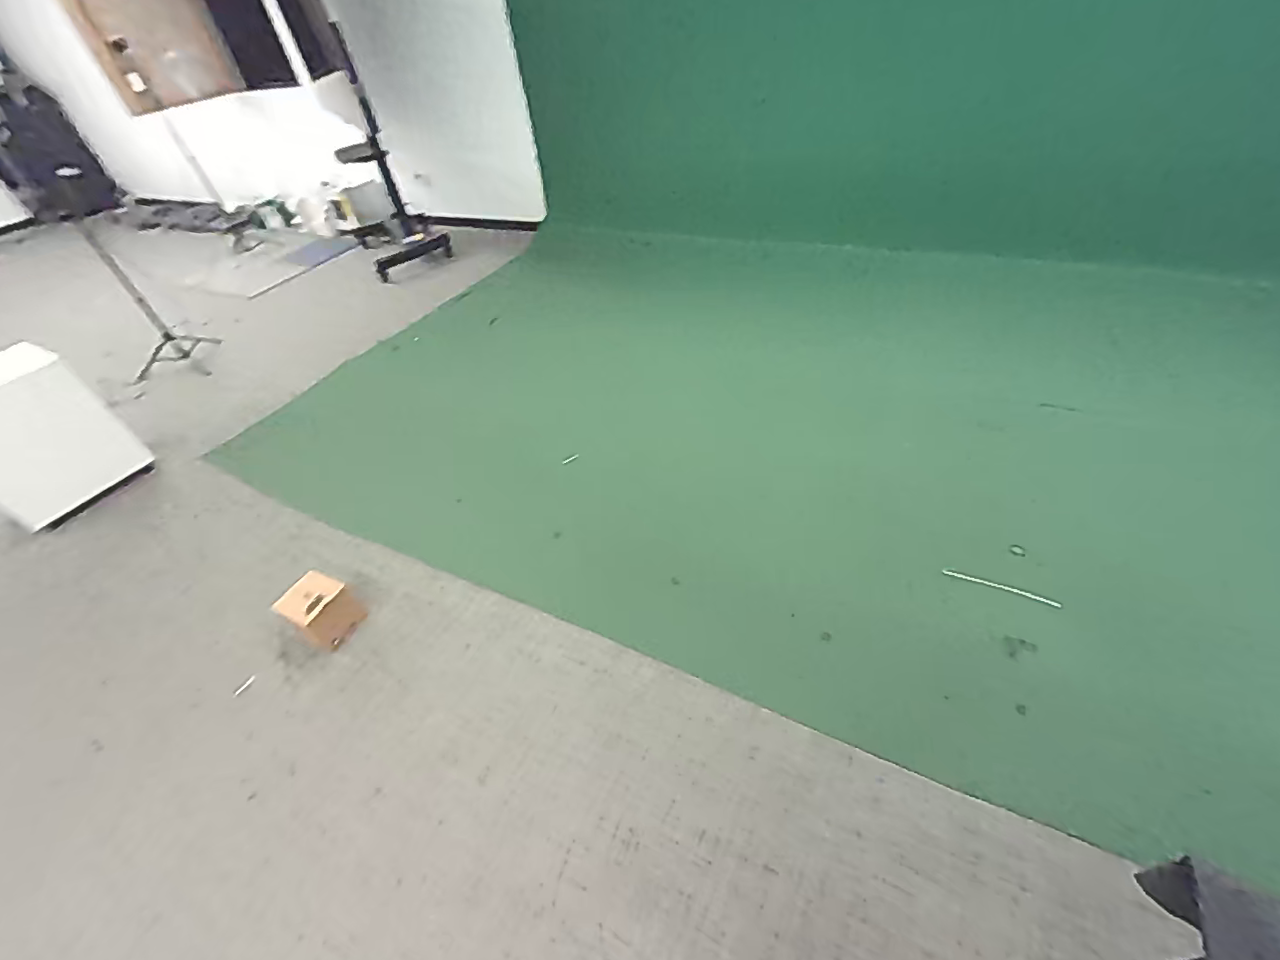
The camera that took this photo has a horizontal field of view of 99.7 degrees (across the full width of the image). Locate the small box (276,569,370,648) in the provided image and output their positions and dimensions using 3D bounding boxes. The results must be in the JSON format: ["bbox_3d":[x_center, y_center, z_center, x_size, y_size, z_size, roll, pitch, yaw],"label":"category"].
[{"bbox_3d":[-1.041,0.430,1.790,0.179,0.176,0.168,14,47,23],"label":"small box"}]
